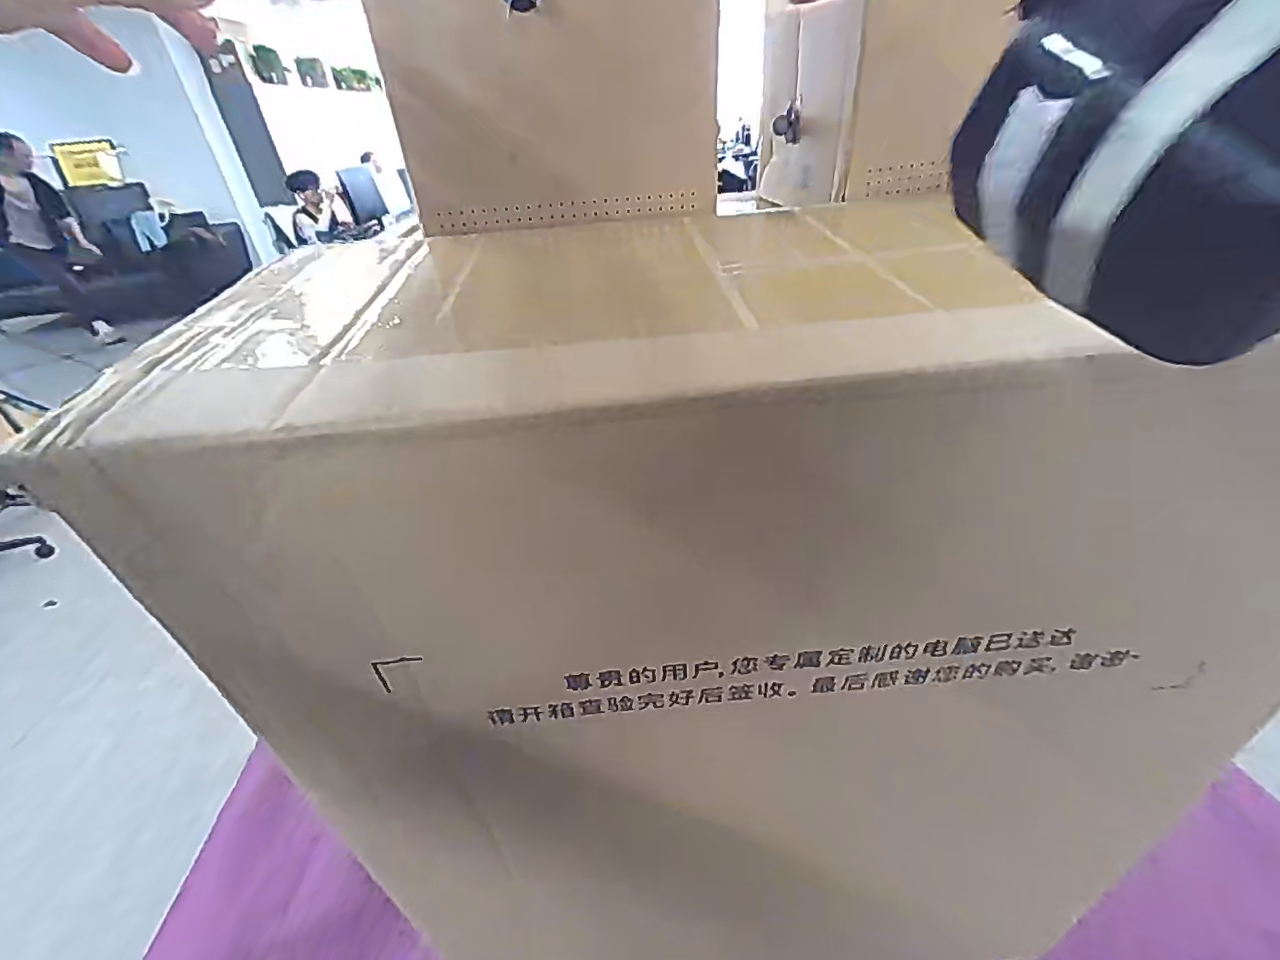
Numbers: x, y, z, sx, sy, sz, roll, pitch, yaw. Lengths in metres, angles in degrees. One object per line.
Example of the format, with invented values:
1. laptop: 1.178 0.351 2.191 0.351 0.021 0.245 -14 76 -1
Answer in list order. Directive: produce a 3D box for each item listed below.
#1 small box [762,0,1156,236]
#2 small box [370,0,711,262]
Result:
1. small box: 0.191 -0.276 0.363 0.179 0.176 0.168 -10 35 -4
2. small box: -0.051 -0.245 0.346 0.179 0.176 0.168 -4 35 -2
